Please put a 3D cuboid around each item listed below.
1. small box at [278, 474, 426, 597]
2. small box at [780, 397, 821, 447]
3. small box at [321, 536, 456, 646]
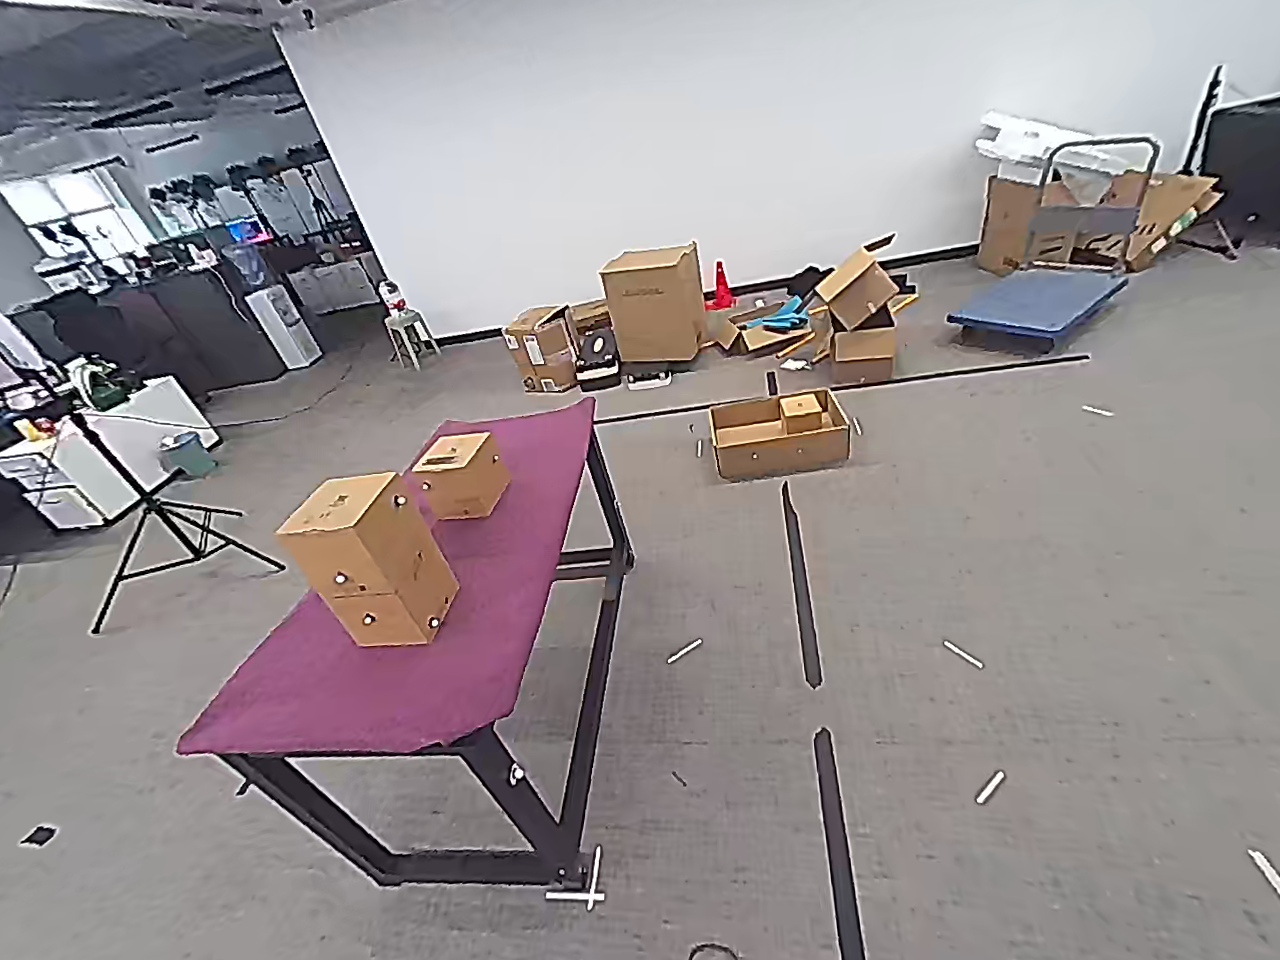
[{"bbox_3d":[-0.553,0.110,1.073,0.168,0.176,0.179,-6,35,11],"label":"small box"},{"bbox_3d":[0.784,-0.283,2.651,0.168,0.176,0.179,-9,35,9],"label":"small box"},{"bbox_3d":[-0.529,0.242,1.169,0.179,0.176,0.168,-6,35,12],"label":"small box"}]
